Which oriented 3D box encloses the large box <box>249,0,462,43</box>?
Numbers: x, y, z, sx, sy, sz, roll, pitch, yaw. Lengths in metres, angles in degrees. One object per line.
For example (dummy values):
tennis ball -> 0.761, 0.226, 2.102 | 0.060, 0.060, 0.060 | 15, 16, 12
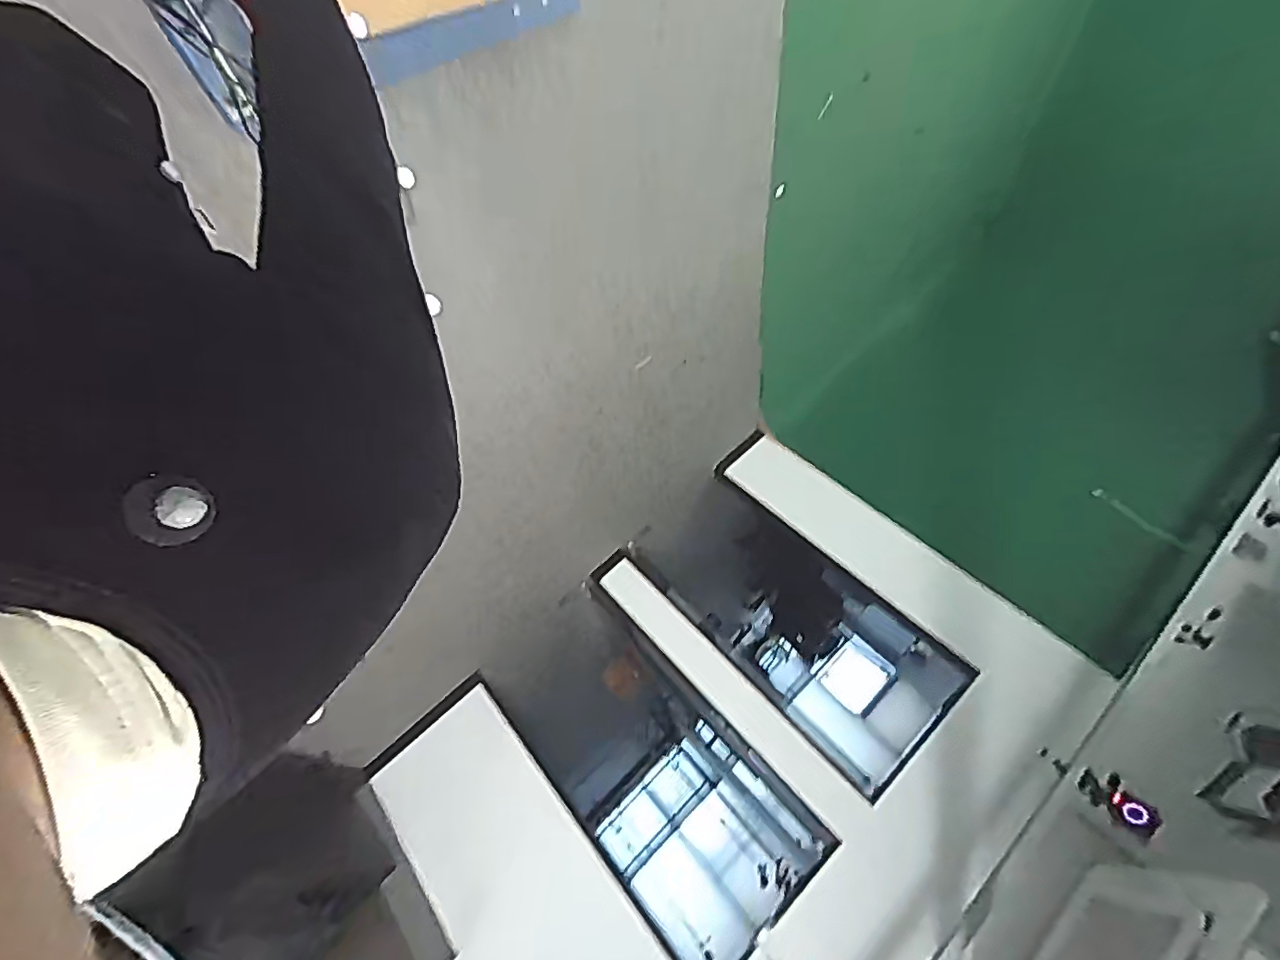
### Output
large box -> -0.464, -0.959, 0.849 | 0.408, 0.320, 0.320 | -37, 151, -21
